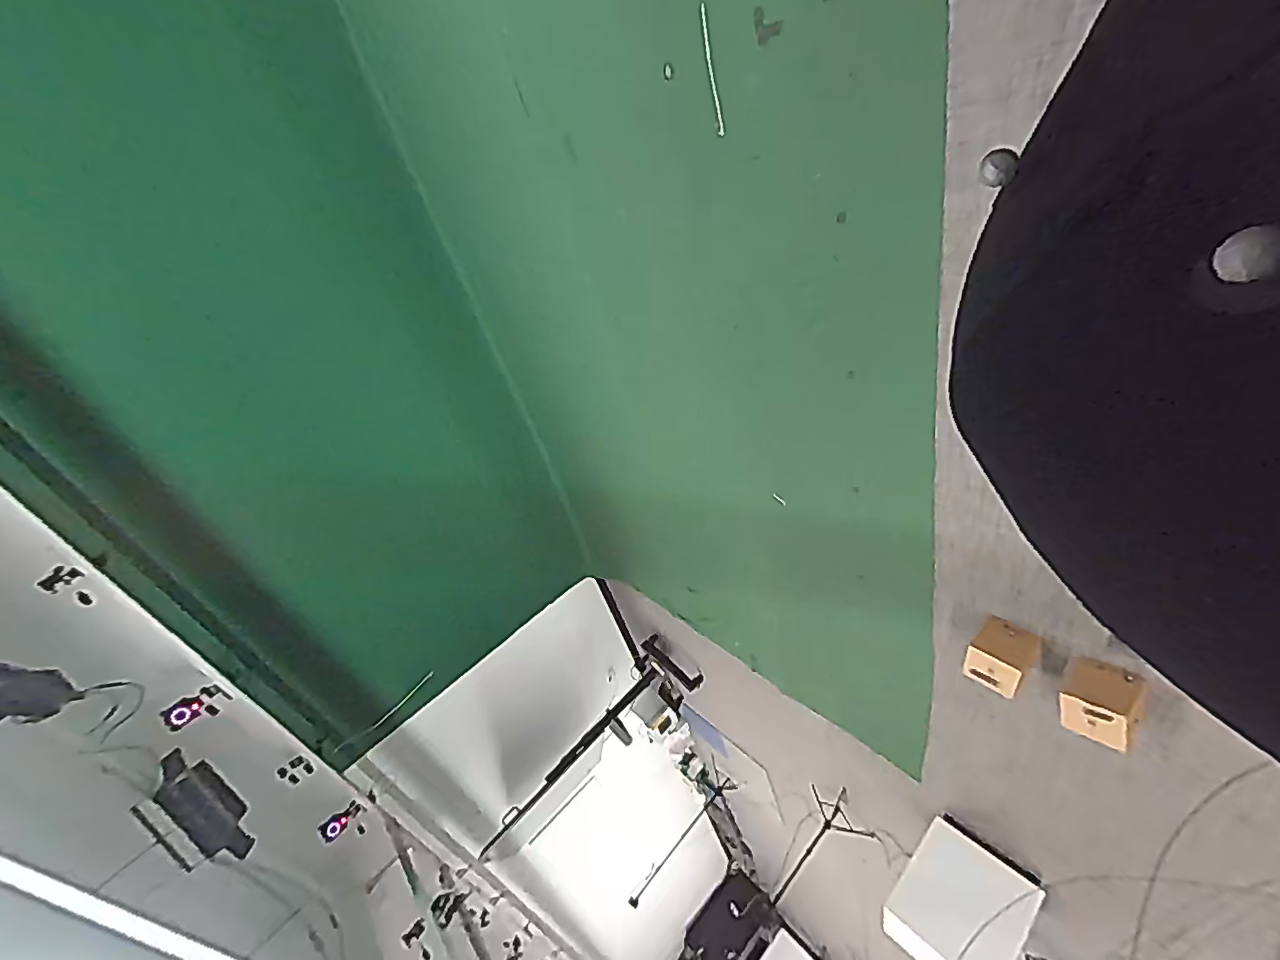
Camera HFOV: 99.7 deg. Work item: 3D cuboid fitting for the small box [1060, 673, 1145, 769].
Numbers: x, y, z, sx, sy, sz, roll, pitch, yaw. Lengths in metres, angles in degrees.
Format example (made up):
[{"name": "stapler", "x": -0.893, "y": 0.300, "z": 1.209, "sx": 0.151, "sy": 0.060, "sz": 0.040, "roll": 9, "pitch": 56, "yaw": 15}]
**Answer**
[{"name": "small box", "x": 1.437, "y": 0.740, "z": 1.681, "sx": 0.168, "sy": 0.176, "sz": 0.179, "roll": 15, "pitch": 135, "yaw": 53}]
